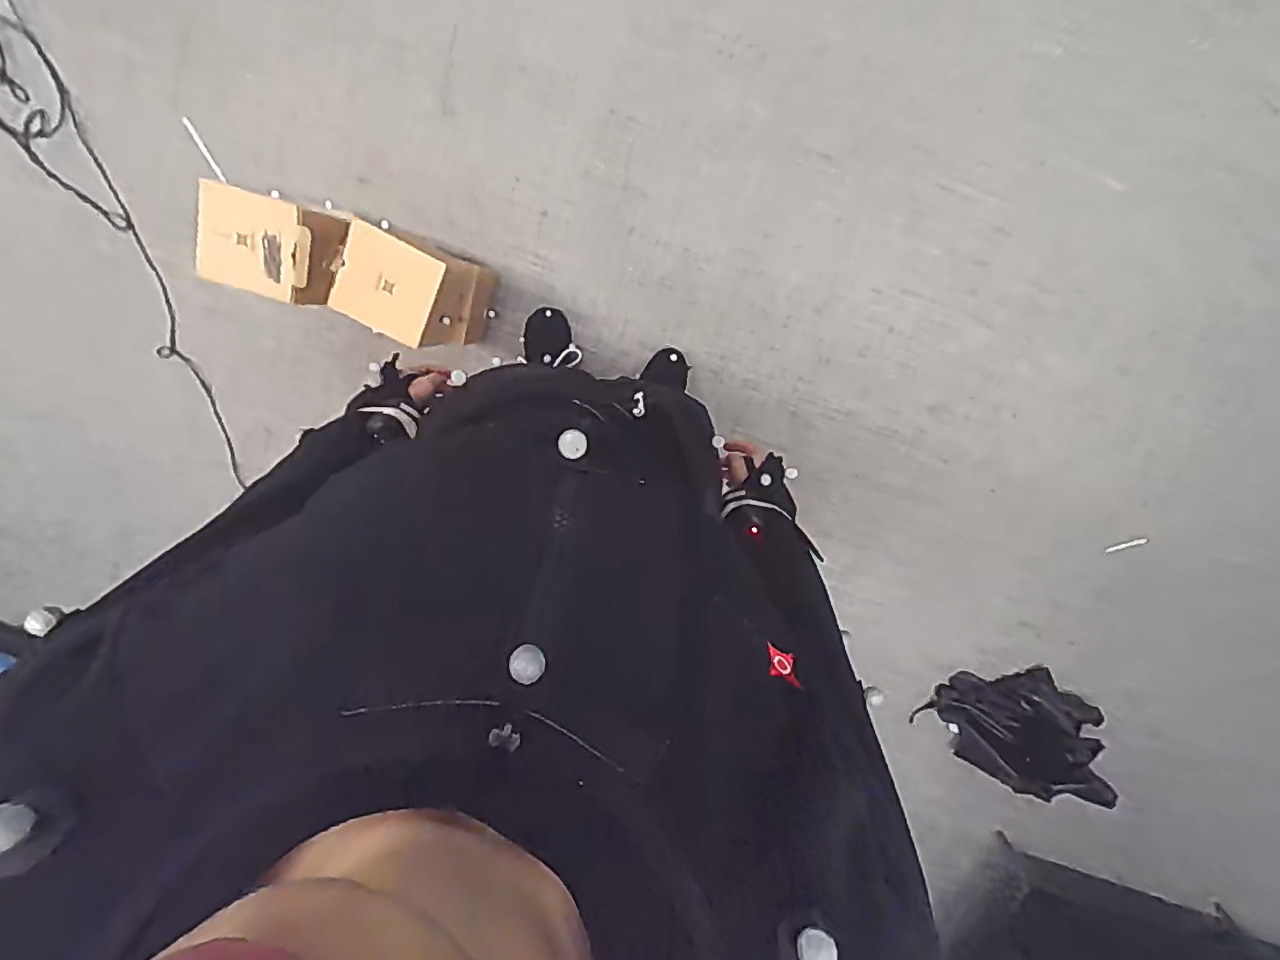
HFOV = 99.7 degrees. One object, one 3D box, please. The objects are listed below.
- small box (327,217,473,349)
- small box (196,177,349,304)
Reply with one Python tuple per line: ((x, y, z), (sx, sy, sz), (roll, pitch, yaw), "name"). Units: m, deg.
((-0.443, -0.370, 1.026), (0.179, 0.176, 0.168), (26, 107, -6), "small box")
((-0.673, -0.435, 1.008), (0.179, 0.176, 0.168), (16, 107, -2), "small box")
